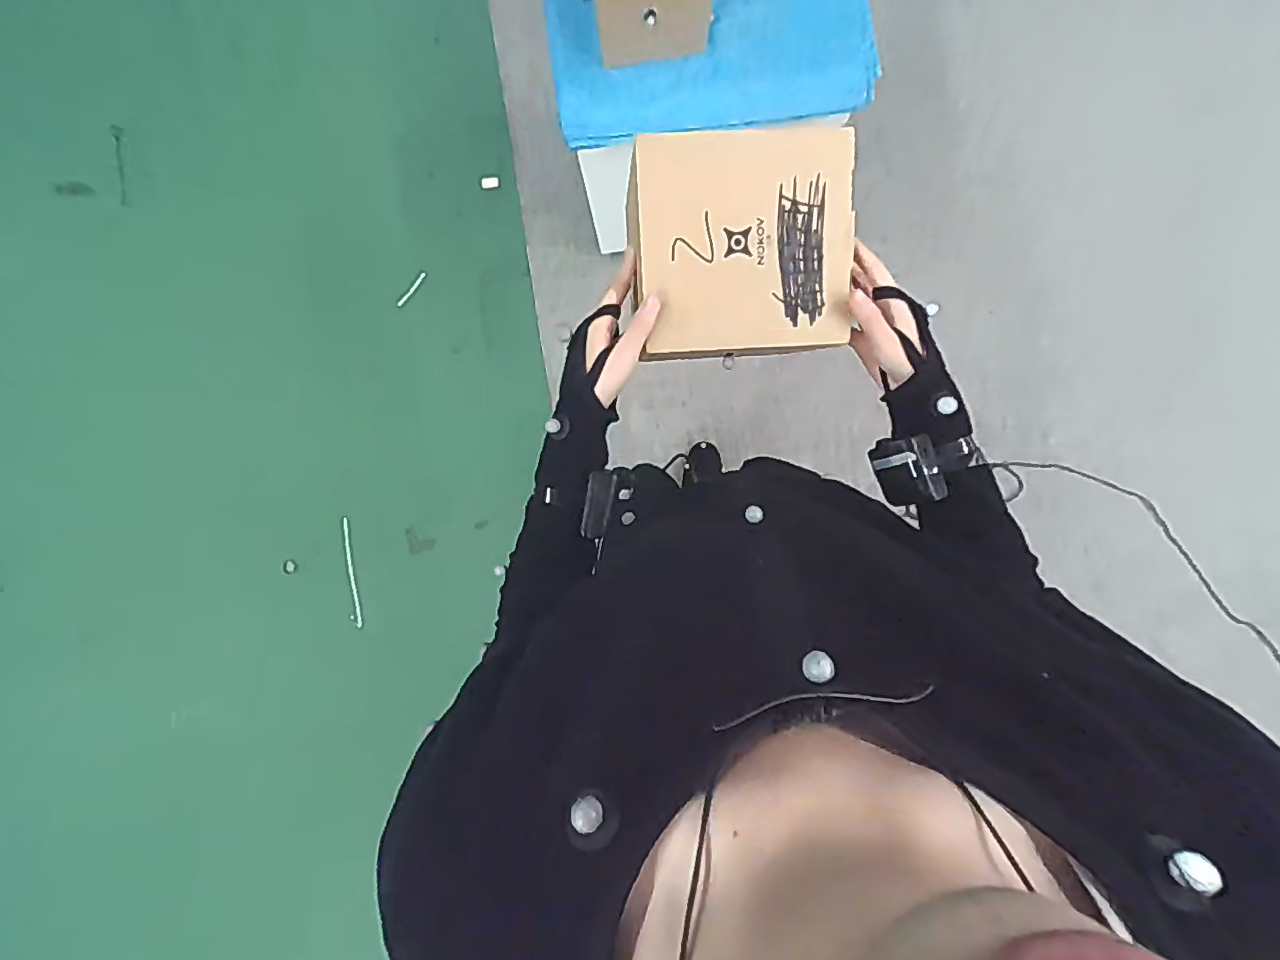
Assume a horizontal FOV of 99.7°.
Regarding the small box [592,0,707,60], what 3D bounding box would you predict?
[{"bbox_3d":[0.009,-0.783,0.813,0.179,0.176,0.168,-8,90,2],"label":"small box"}]
